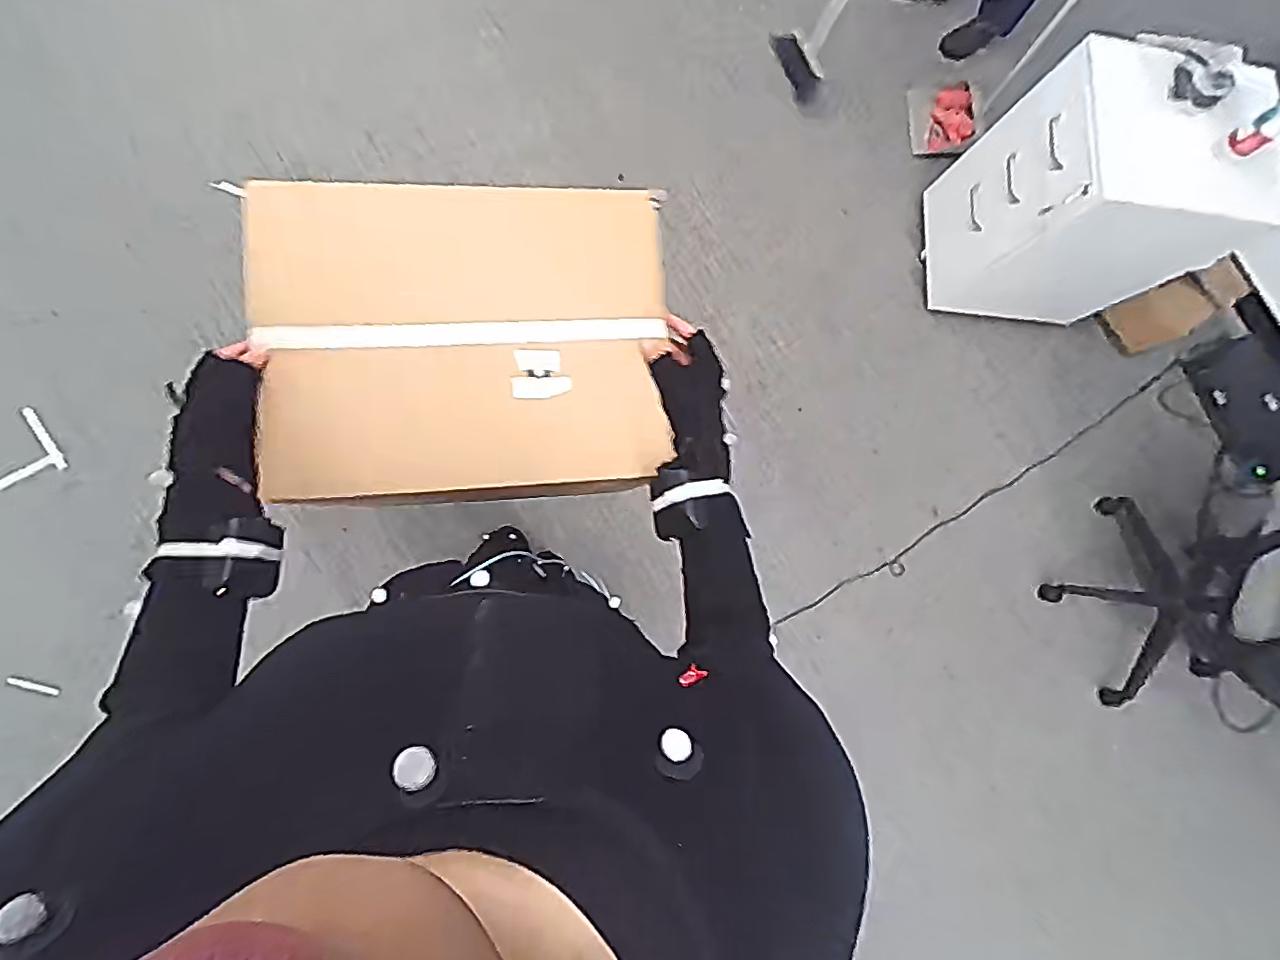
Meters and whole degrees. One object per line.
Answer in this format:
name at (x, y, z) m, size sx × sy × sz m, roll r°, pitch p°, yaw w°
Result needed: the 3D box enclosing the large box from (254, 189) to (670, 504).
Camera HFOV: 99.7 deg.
large box at (-0.203, -0.145, 0.711) m, size 0.408 × 0.320 × 0.320 m, roll -5°, pitch 88°, yaw -10°
